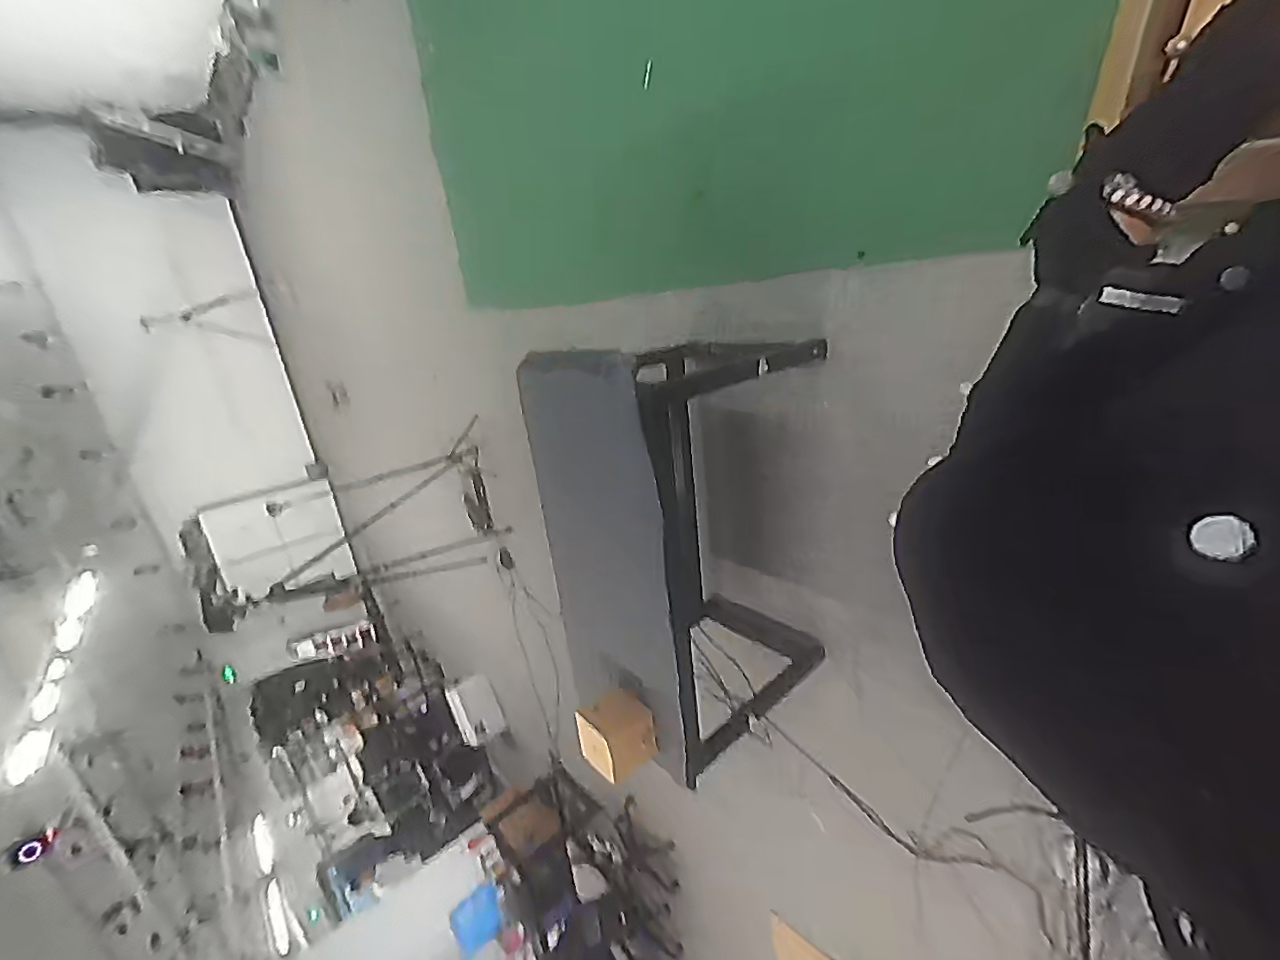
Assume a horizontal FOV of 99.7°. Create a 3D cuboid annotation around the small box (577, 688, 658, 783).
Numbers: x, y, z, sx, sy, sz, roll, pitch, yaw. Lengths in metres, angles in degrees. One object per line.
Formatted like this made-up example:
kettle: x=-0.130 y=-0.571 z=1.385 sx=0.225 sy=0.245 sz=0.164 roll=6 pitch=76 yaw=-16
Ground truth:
small box: x=-0.068 y=0.766 z=1.646 sx=0.179 sy=0.176 sz=0.168 roll=14 pitch=118 yaw=50
